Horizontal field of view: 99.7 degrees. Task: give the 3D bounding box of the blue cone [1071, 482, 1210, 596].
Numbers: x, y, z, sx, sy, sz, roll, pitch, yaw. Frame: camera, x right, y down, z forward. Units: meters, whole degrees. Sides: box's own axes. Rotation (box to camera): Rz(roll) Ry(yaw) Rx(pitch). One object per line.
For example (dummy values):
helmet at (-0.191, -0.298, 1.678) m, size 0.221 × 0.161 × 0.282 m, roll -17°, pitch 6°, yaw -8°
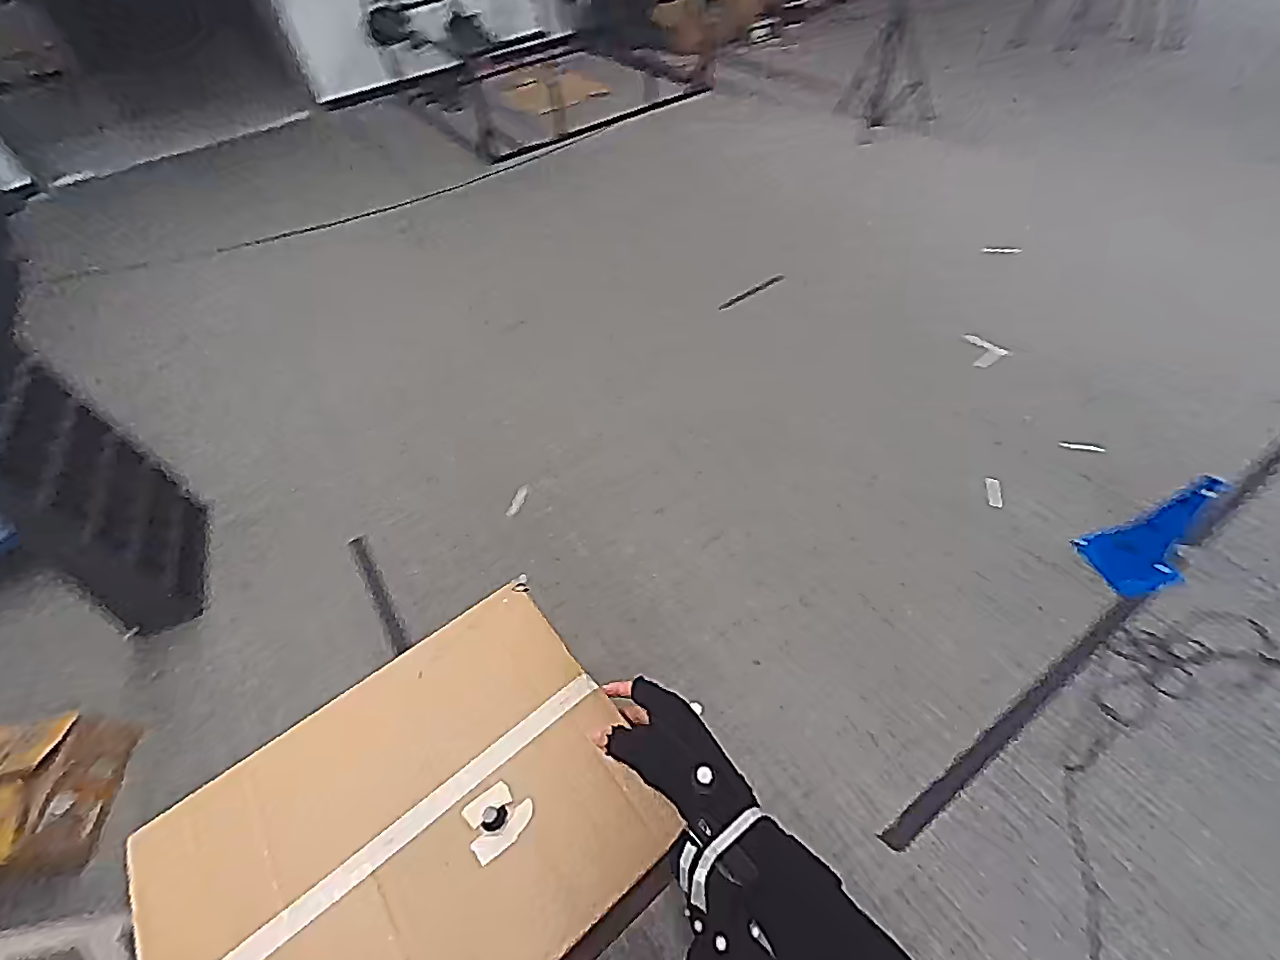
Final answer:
blue cone at (1.382, 0.133, 1.445) m, size 0.192 × 0.380 × 0.193 m, roll -14°, pitch 50°, yaw -4°
